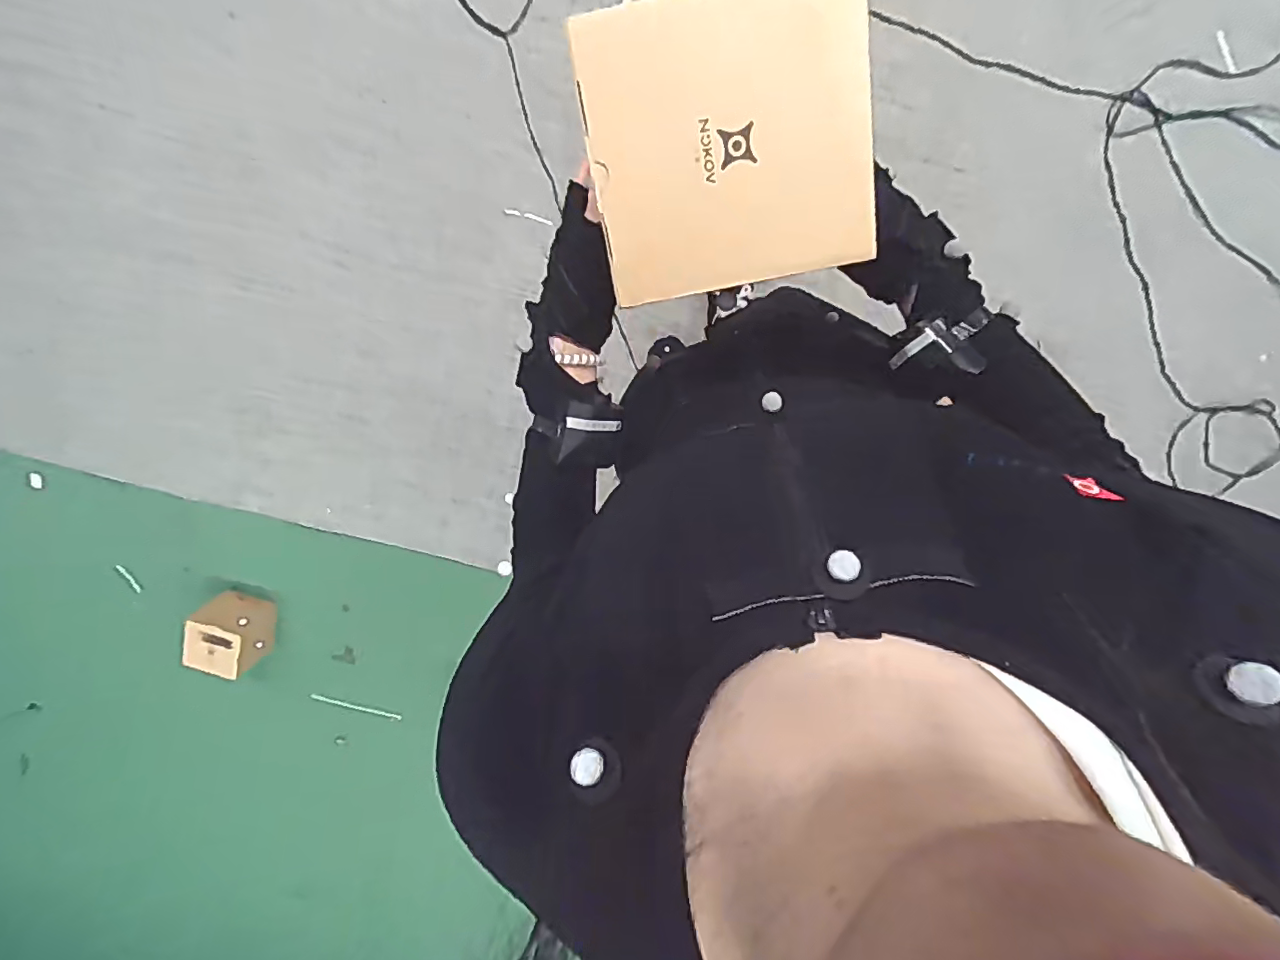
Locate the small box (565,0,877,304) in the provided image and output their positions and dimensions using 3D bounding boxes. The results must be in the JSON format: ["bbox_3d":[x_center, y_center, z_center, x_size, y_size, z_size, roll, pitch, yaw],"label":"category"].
[{"bbox_3d":[0.056,-0.236,0.403,0.179,0.176,0.168,-10,110,5],"label":"small box"}]
